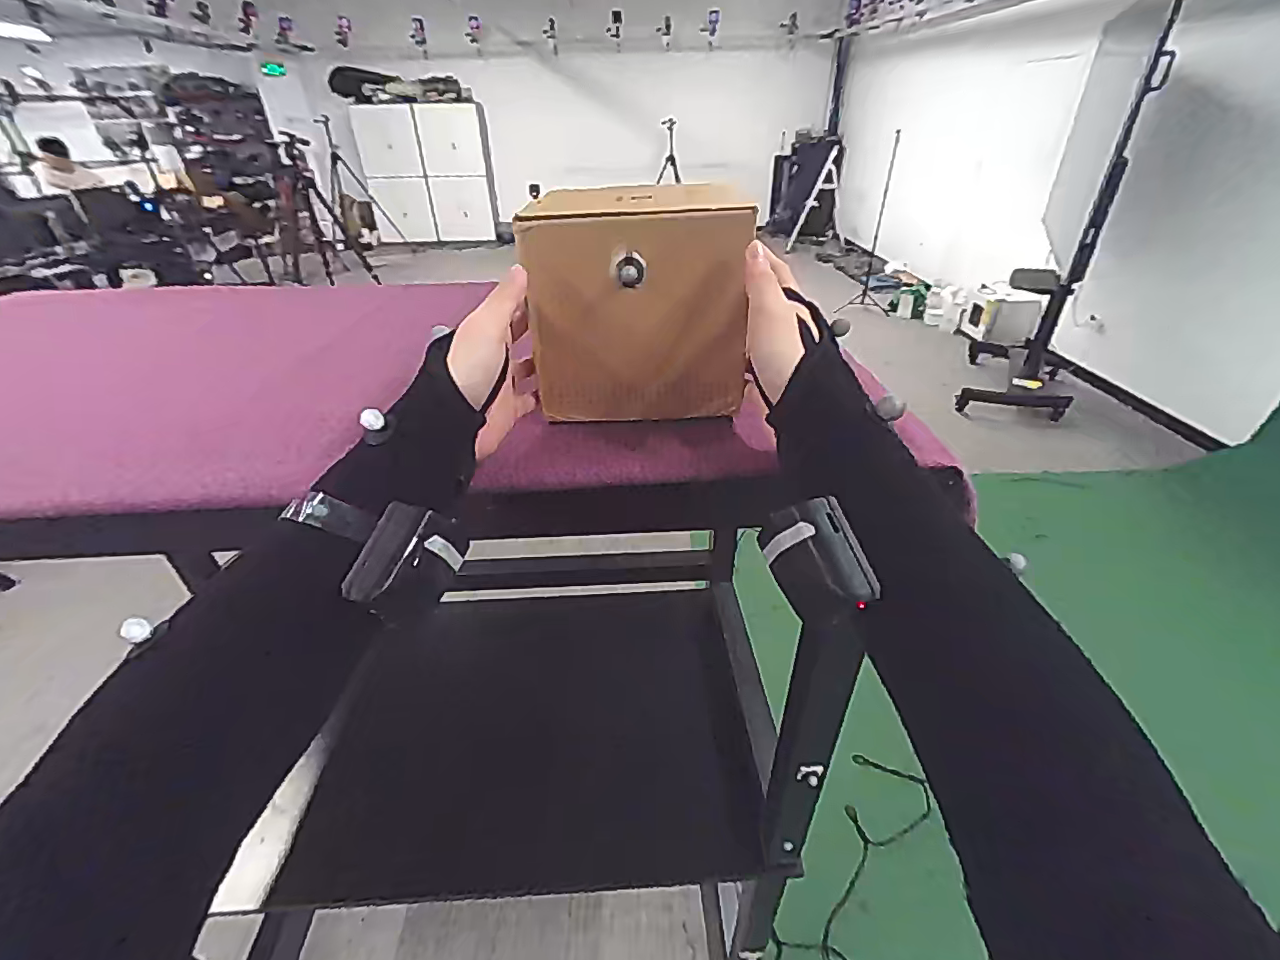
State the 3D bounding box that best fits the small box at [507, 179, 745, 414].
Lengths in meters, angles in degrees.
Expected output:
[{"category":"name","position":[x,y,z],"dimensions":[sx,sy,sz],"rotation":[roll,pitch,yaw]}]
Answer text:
[{"category":"small box","position":[-0.003,-0.168,0.494],"dimensions":[0.179,0.176,0.168],"rotation":[-1,34,3]}]
